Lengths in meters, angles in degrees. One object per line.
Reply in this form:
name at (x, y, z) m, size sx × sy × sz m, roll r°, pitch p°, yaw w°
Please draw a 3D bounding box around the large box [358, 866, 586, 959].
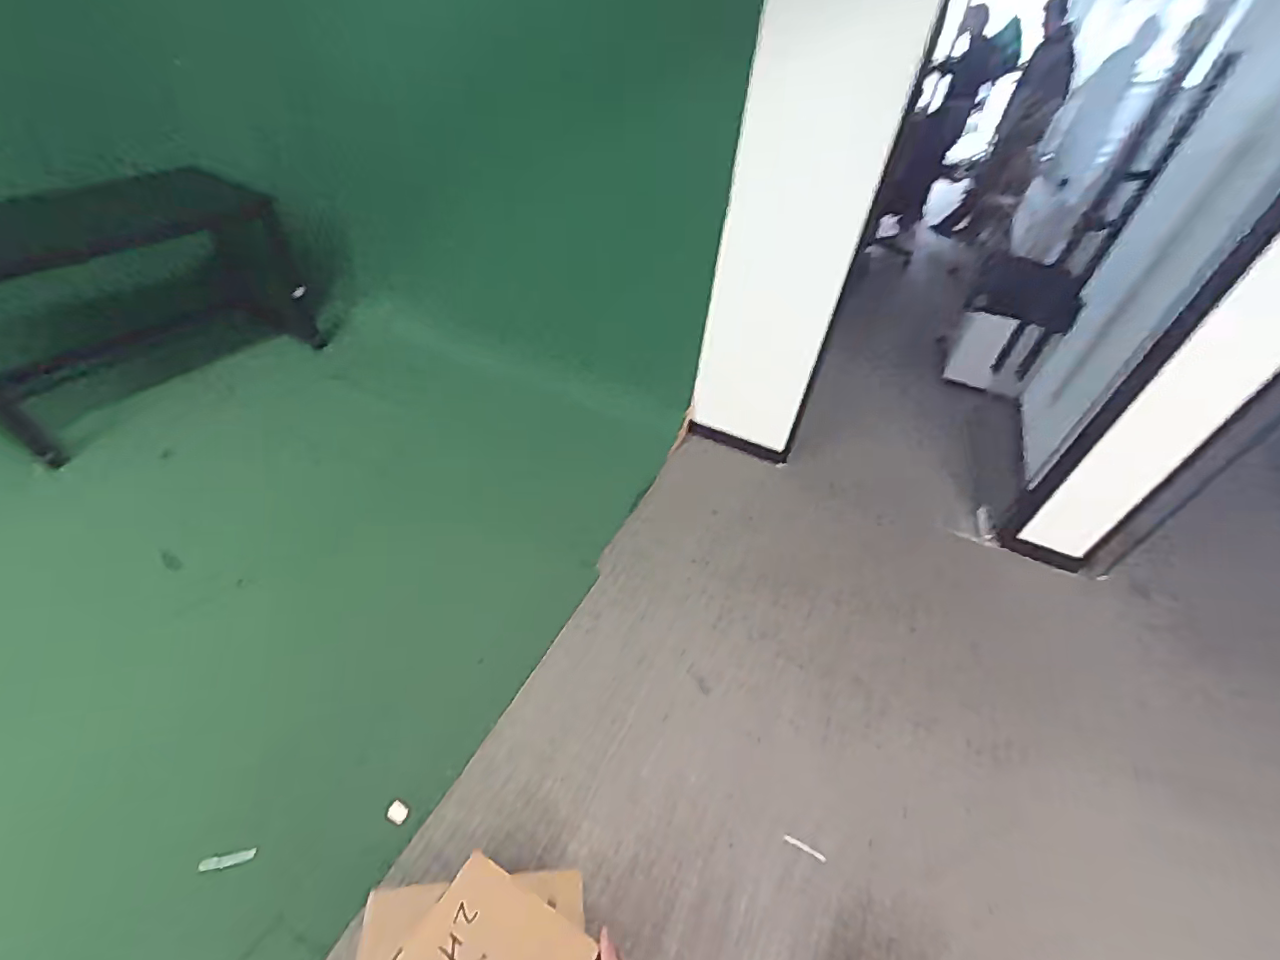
large box at (-0.305, 0.990, 1.043) m, size 0.408 × 0.320 × 0.320 m, roll -2°, pitch 43°, yaw -8°
